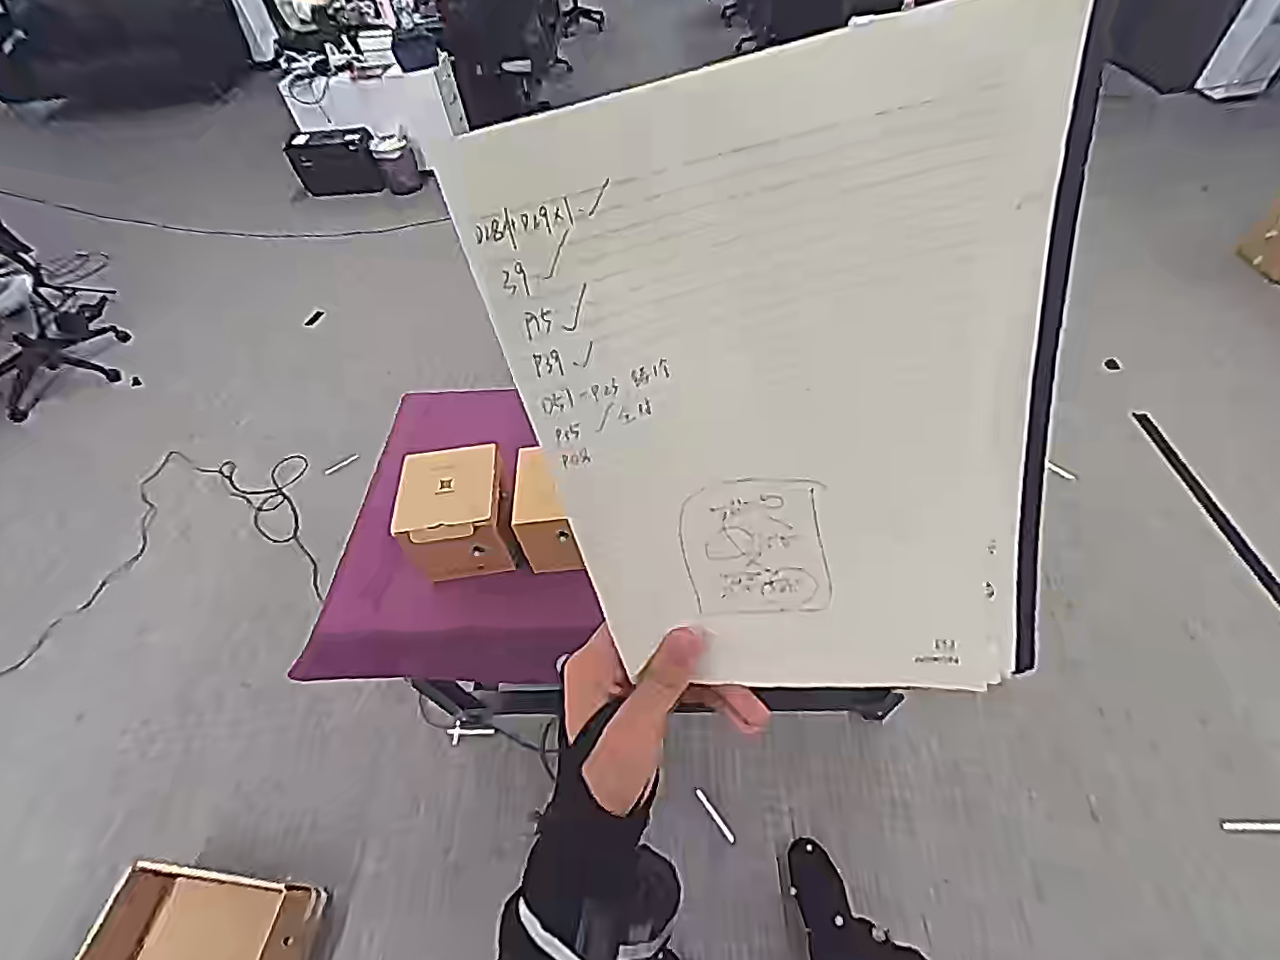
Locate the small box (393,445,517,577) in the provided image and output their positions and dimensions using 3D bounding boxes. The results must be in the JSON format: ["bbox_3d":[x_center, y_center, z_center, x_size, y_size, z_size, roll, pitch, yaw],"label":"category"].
[{"bbox_3d":[-0.326,0.064,0.991,0.168,0.176,0.179,-8,51,-2],"label":"small box"}]

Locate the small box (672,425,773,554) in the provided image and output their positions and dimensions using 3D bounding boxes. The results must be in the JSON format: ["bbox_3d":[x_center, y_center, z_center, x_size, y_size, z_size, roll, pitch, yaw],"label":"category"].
[{"bbox_3d":[0.145,0.020,0.978,0.168,0.176,0.179,0,51,6],"label":"small box"}]
